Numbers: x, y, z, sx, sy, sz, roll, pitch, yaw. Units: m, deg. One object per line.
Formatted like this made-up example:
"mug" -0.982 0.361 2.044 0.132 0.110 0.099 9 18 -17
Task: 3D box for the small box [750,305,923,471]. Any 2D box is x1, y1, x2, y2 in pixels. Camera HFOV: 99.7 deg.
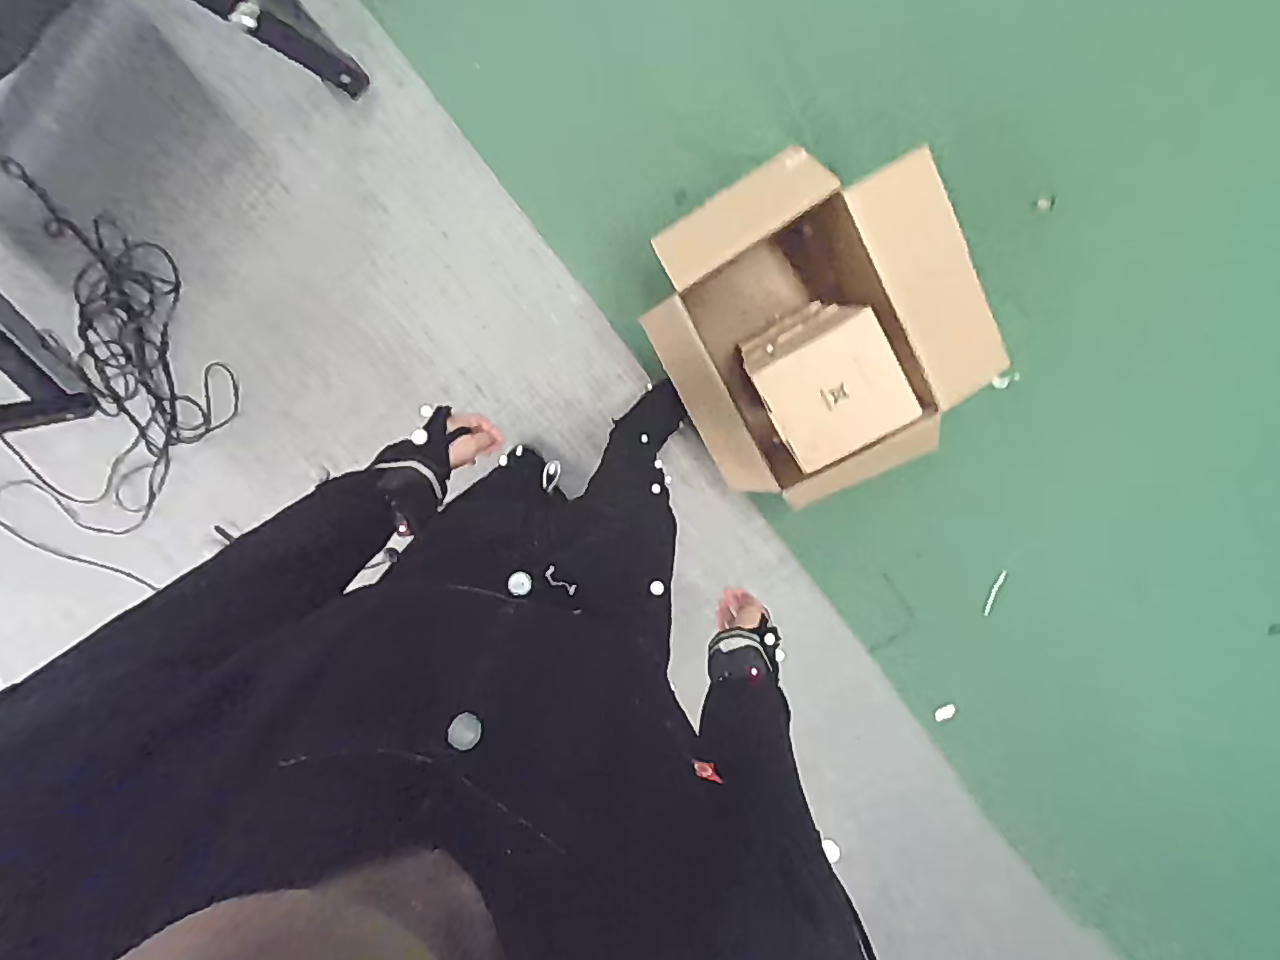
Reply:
"small box" 0.275 -0.140 0.803 0.179 0.176 0.168 -30 103 14
